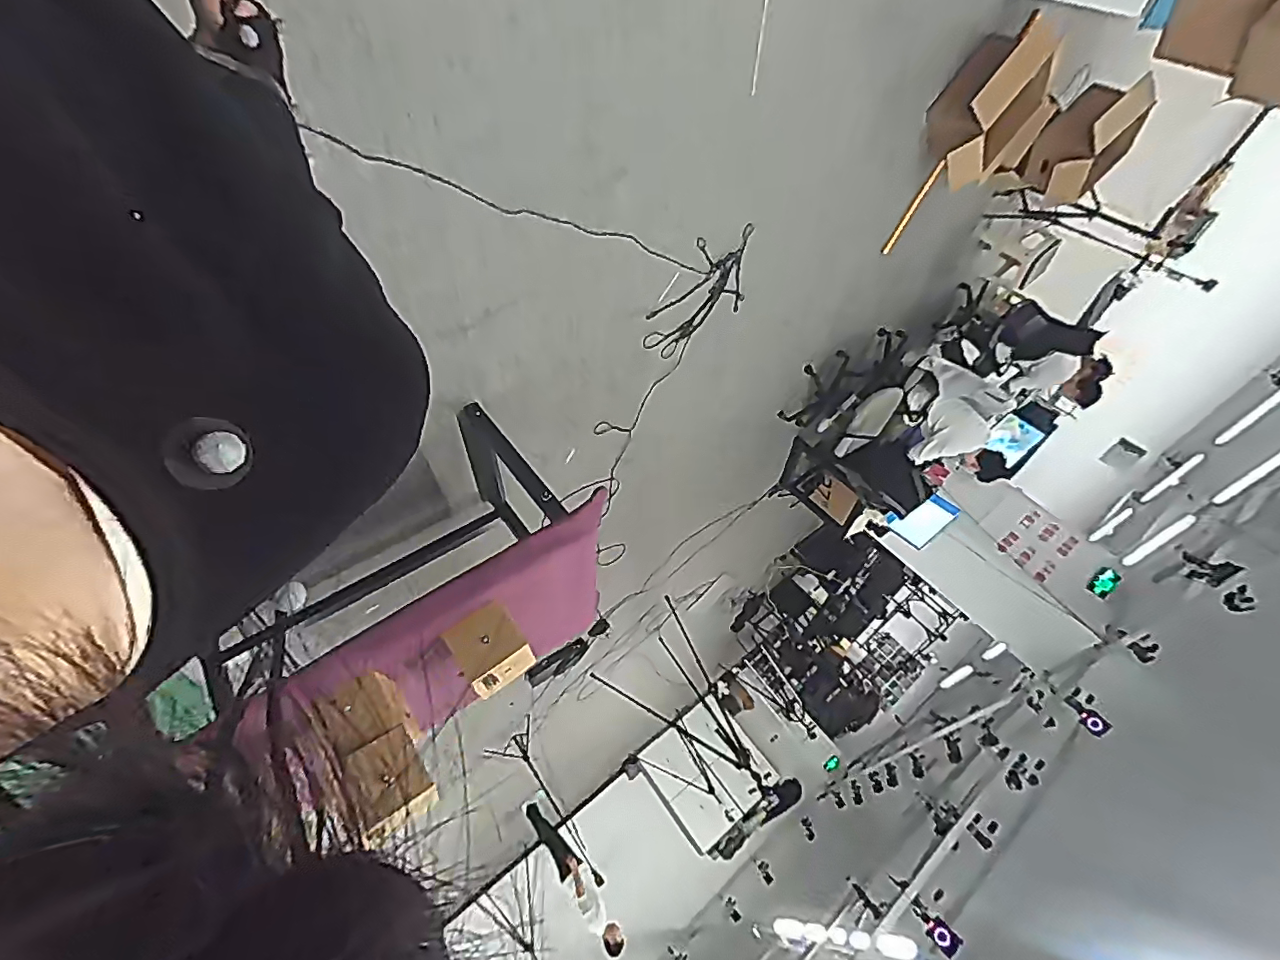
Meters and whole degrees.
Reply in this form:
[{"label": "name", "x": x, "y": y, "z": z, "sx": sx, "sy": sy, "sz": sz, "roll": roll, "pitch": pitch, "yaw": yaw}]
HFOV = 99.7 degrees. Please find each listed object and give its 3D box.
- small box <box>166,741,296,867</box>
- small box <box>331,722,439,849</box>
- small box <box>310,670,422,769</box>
[{"label": "small box", "x": -0.915, "y": 0.728, "z": 1.214, "sx": 0.179, "sy": 0.176, "sz": 0.168, "roll": -32, "pitch": 150, "yaw": -22}, {"label": "small box", "x": -0.593, "y": 0.705, "z": 1.257, "sx": 0.179, "sy": 0.176, "sz": 0.168, "roll": -26, "pitch": 148, "yaw": -32}, {"label": "small box", "x": -0.683, "y": 0.607, "z": 1.357, "sx": 0.168, "sy": 0.176, "sz": 0.179, "roll": -34, "pitch": 151, "yaw": -20}]
